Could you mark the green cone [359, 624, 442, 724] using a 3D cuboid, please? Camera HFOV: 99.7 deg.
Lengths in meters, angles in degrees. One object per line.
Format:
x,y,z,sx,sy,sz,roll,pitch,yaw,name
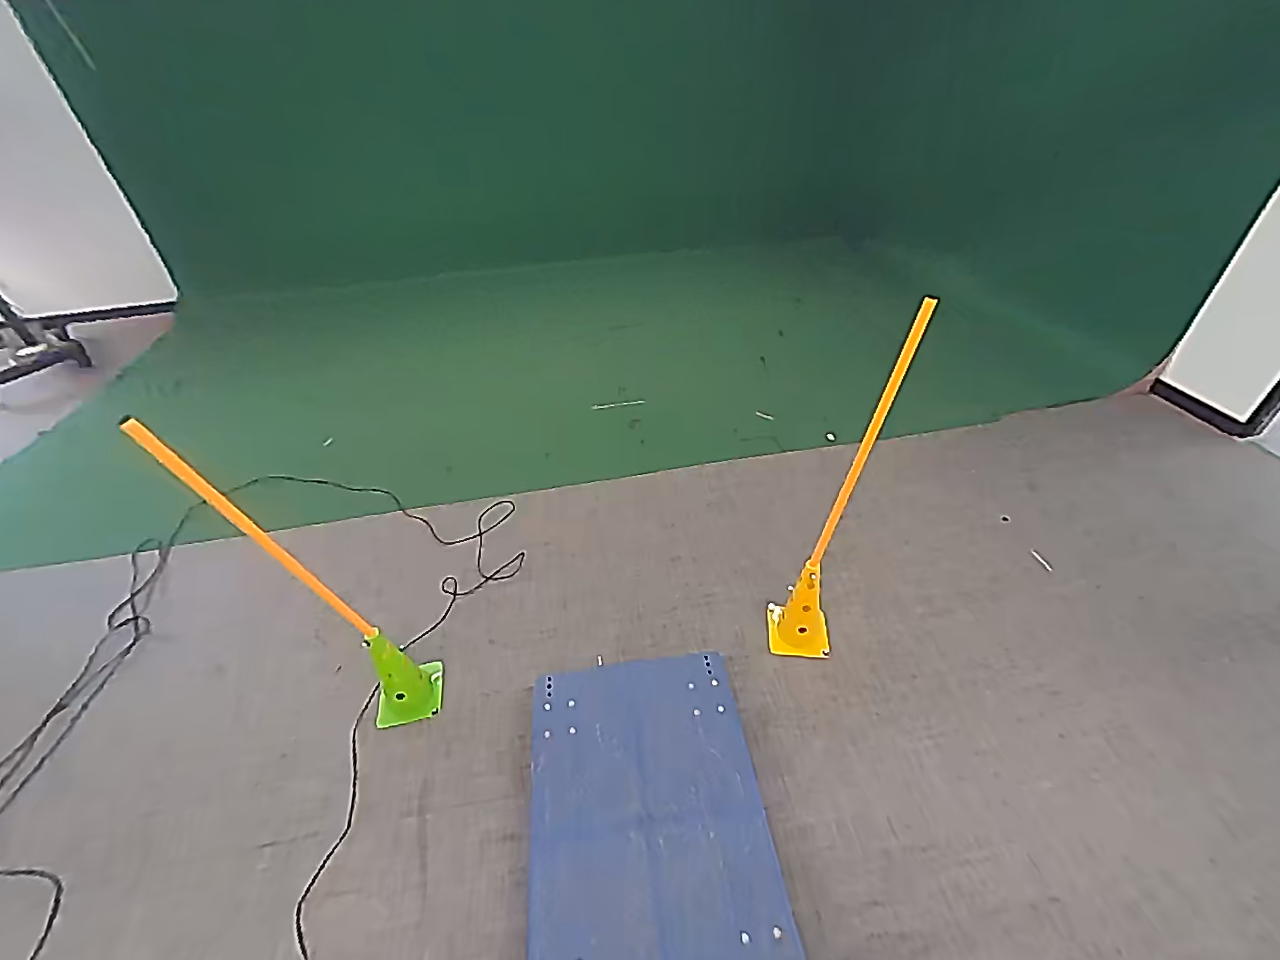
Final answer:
-0.778,0.566,1.689,0.202,0.368,0.200,-13,41,-7,green cone
